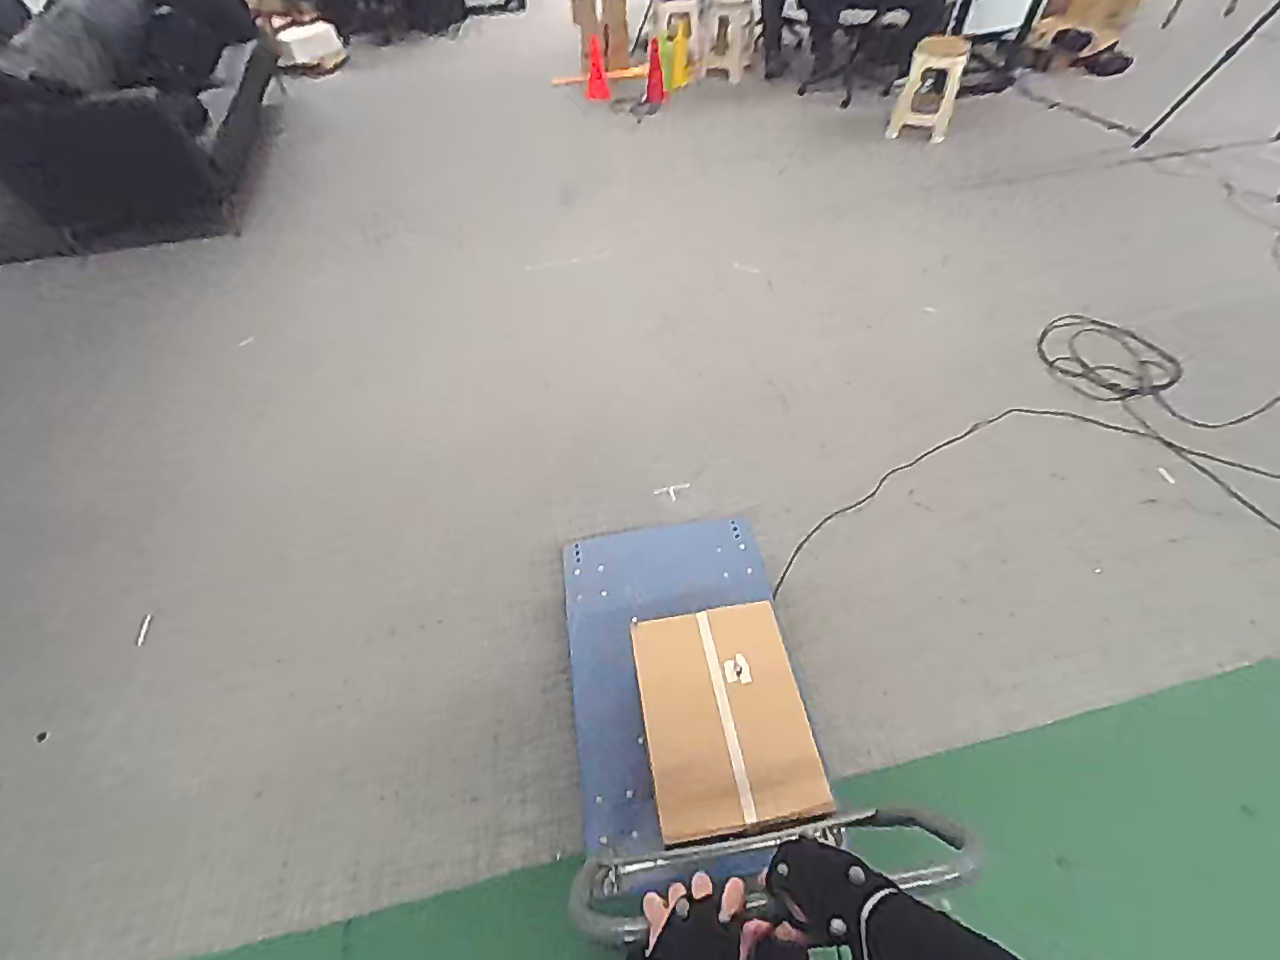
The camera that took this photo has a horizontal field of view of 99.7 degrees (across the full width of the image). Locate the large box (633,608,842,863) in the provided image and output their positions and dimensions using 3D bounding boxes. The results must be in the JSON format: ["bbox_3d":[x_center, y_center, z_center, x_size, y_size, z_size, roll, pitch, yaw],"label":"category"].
[{"bbox_3d":[0.177,0.546,1.162,0.320,0.320,0.408,-8,53,-5],"label":"large box"}]
